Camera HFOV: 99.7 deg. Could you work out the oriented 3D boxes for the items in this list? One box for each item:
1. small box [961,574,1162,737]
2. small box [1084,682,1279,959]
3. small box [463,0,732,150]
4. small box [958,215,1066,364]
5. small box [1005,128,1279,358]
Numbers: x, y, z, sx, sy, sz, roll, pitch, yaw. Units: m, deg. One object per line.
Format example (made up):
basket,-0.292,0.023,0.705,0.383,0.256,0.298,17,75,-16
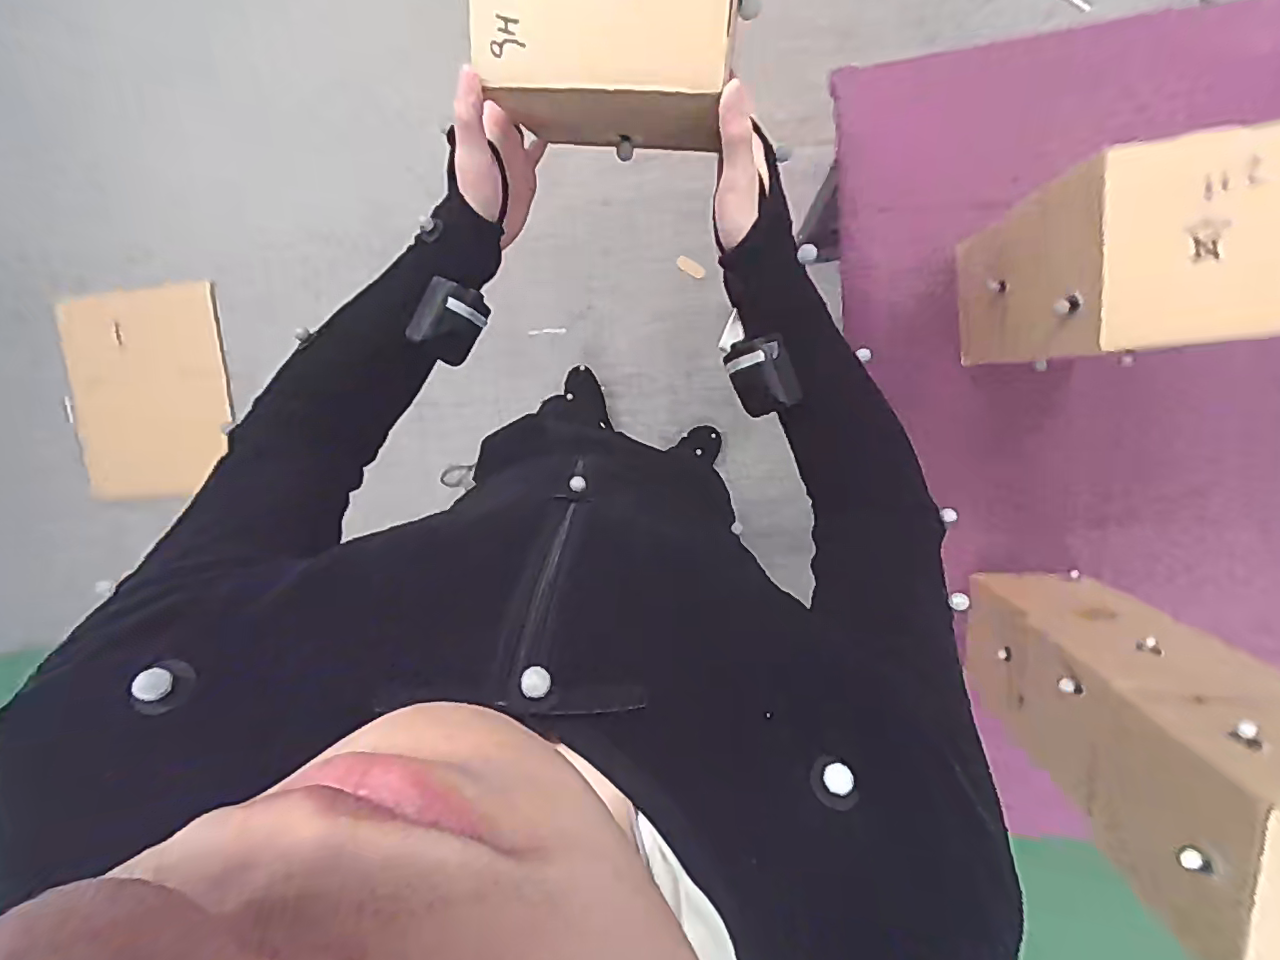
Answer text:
small box,0.589,0.242,0.780,0.168,0.176,0.179,-1,99,8
small box,0.528,0.295,0.463,0.168,0.176,0.179,1,99,8
small box,-0.020,-0.365,0.411,0.179,0.176,0.168,6,110,5
small box,0.541,-0.249,0.711,0.168,0.176,0.179,-5,97,9
small box,0.504,-0.220,0.552,0.168,0.176,0.179,-4,98,8
